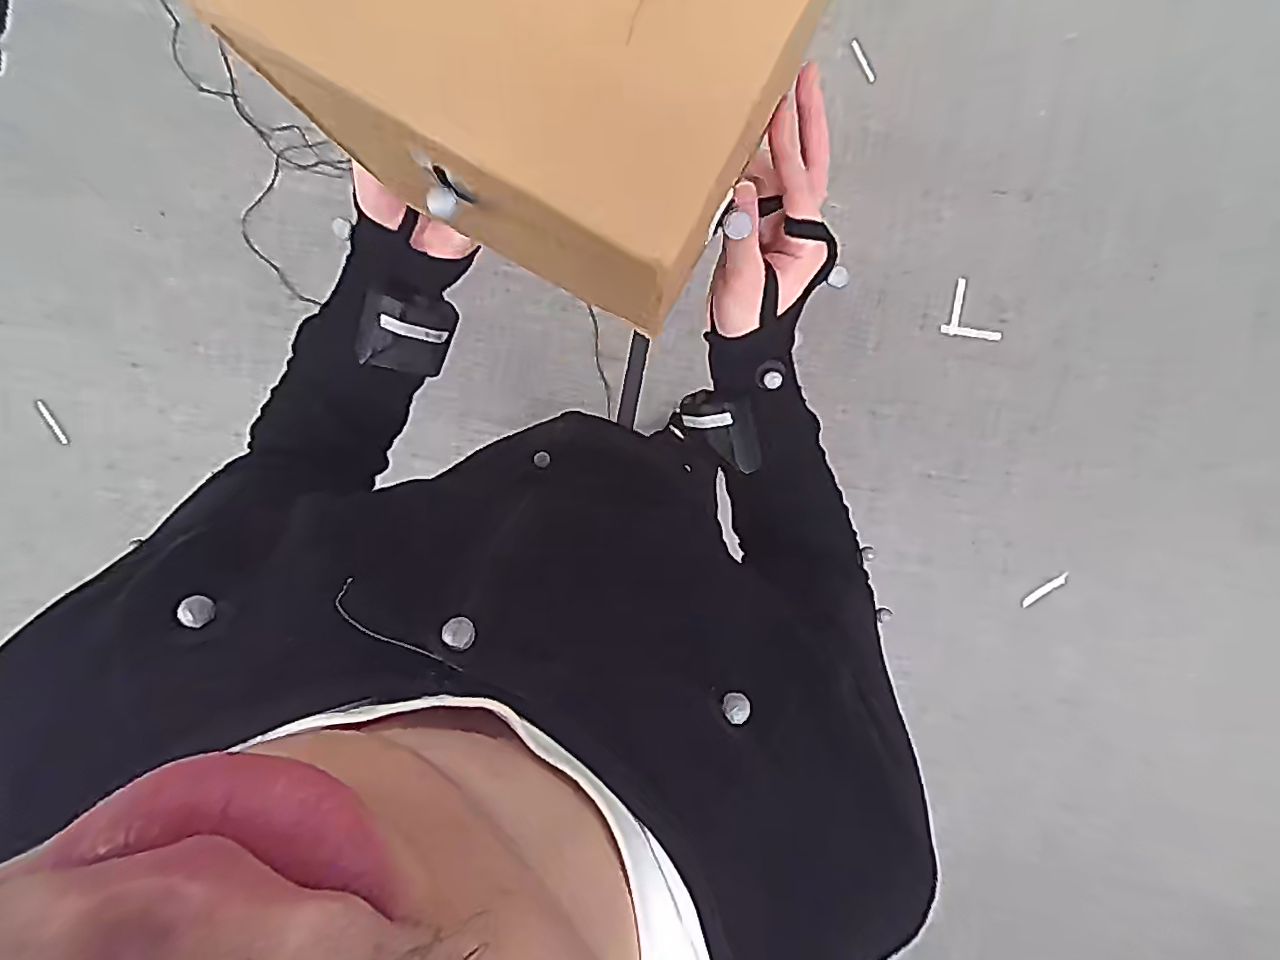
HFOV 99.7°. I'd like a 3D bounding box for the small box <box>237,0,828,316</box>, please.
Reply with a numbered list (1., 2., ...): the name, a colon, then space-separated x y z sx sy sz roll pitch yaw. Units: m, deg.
1. small box: -0.026 -0.197 0.249 0.179 0.176 0.168 28 95 -2
